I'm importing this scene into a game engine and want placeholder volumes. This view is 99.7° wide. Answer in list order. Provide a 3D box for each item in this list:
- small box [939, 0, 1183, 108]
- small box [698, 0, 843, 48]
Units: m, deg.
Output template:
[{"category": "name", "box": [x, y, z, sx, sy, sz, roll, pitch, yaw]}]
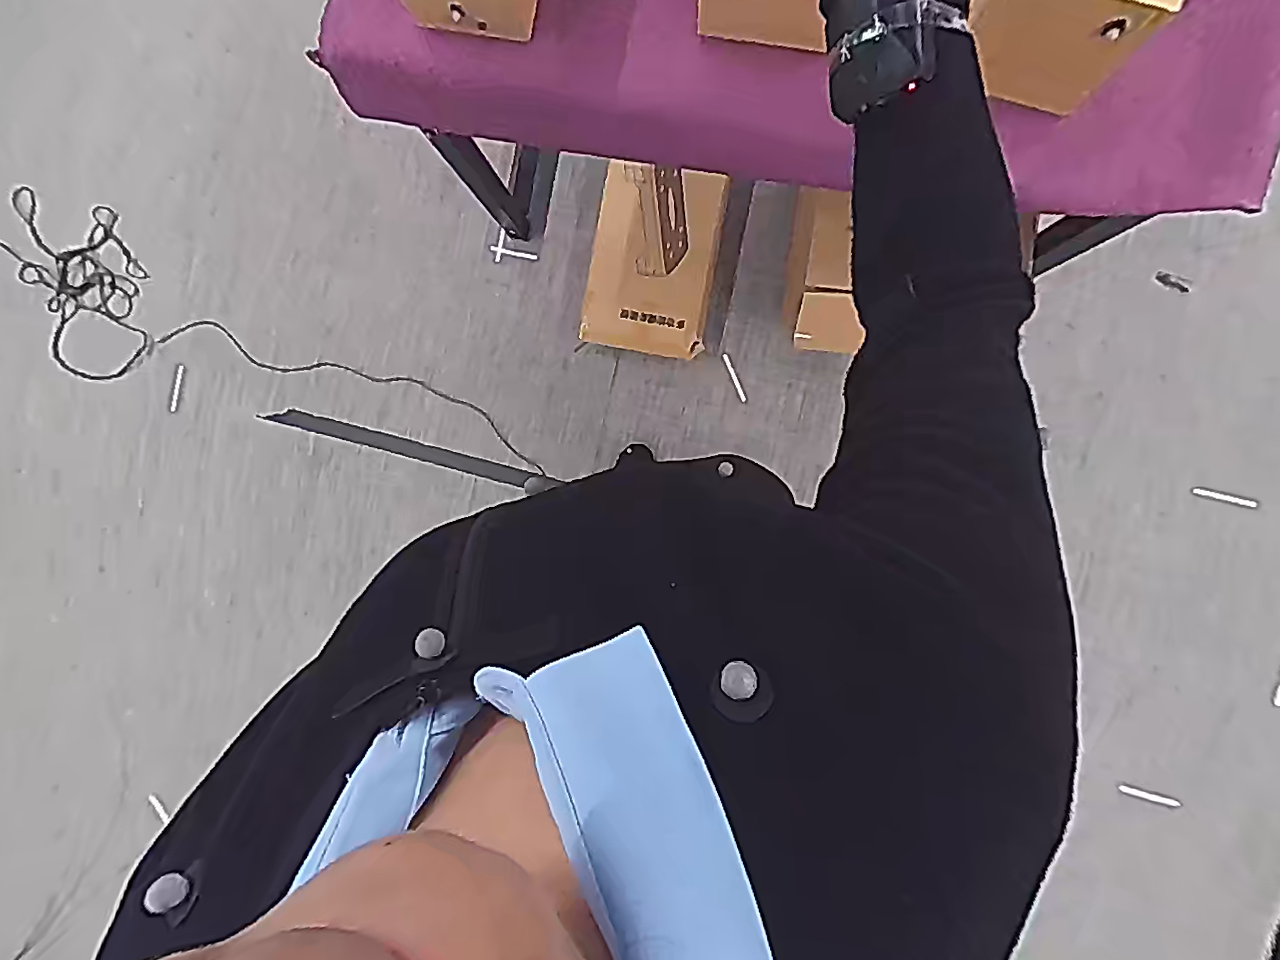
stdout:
[{"category": "small box", "box": [0.476, -0.564, 0.606, 0.179, 0.176, 0.168, 19, 94, 4]}, {"category": "small box", "box": [0.170, -0.650, 0.627, 0.179, 0.176, 0.168, 11, 91, 4]}]
